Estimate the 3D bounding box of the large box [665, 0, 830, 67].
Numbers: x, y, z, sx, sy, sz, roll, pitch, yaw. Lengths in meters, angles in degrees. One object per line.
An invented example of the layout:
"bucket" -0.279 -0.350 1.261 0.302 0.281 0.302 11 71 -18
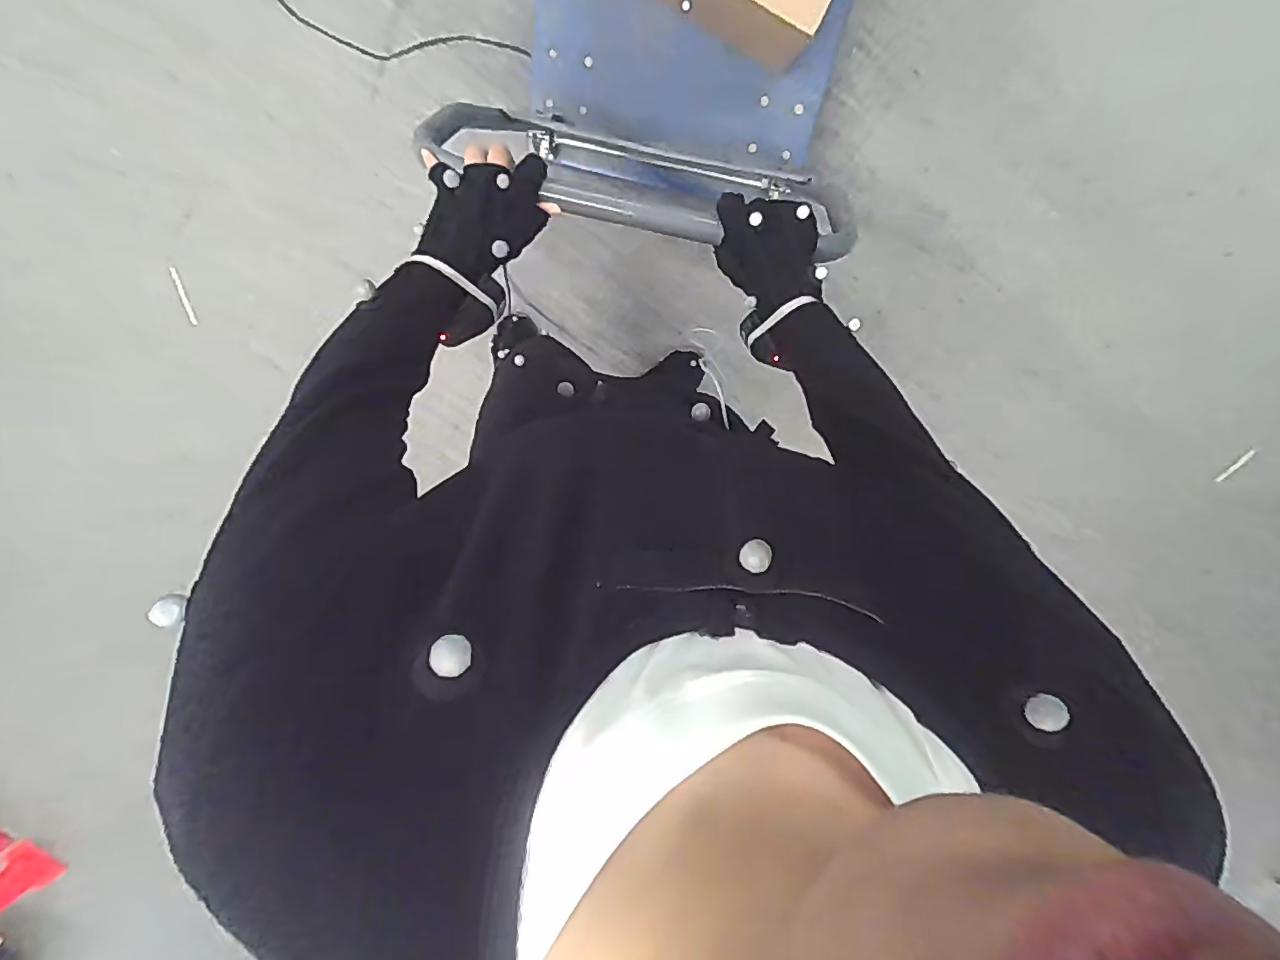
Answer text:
"large box" 0.147 -0.907 0.808 0.408 0.320 0.320 25 118 -8
